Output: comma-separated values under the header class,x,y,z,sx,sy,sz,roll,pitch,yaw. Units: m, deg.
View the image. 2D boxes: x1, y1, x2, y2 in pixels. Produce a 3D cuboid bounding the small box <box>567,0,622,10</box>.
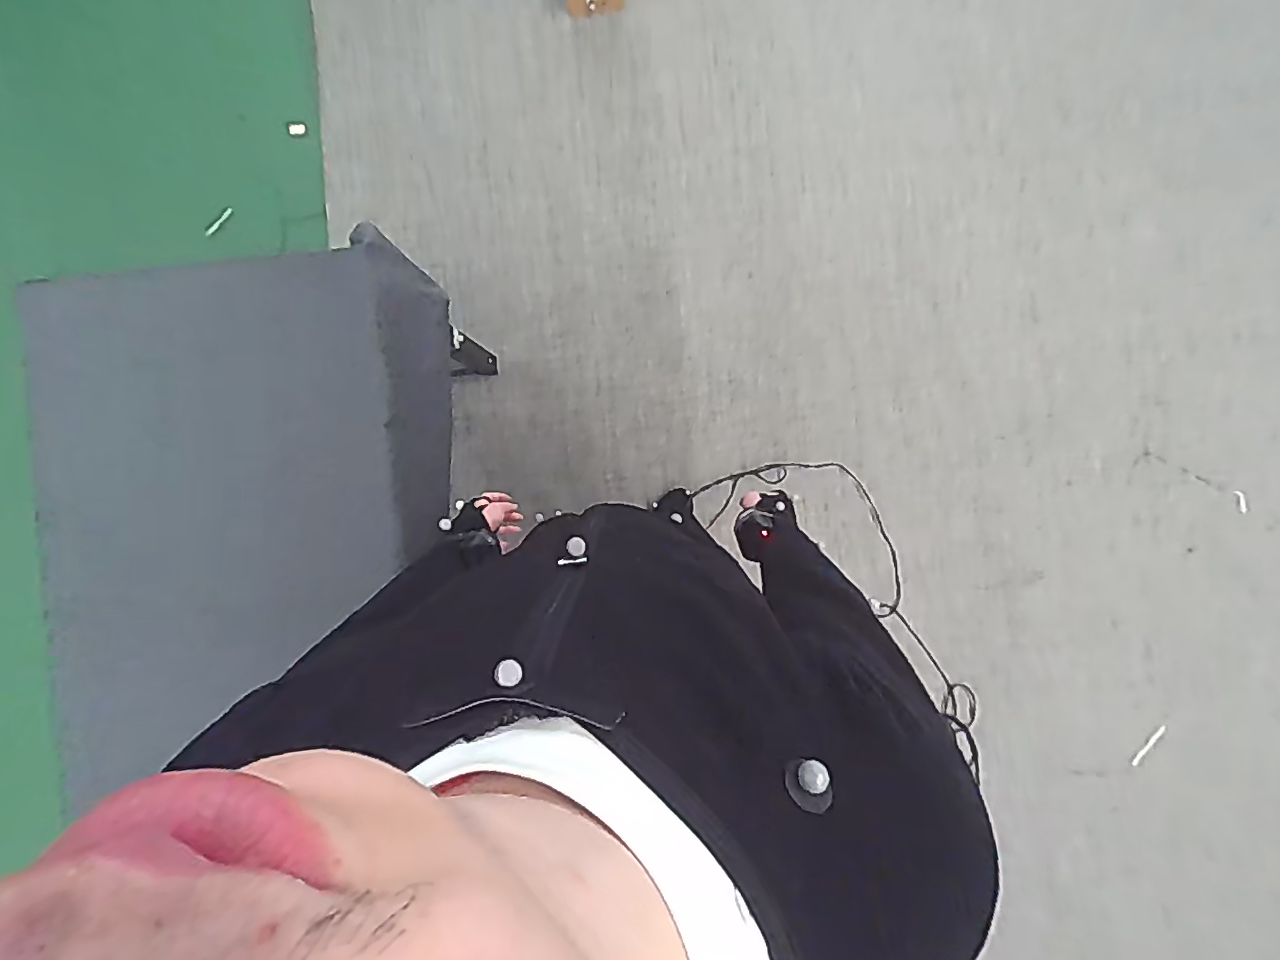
class,x,y,z,sx,sy,sz,roll,pitch,yaw
small box,-0.140,-1.463,1.497,0.168,0.176,0.179,-3,90,5
